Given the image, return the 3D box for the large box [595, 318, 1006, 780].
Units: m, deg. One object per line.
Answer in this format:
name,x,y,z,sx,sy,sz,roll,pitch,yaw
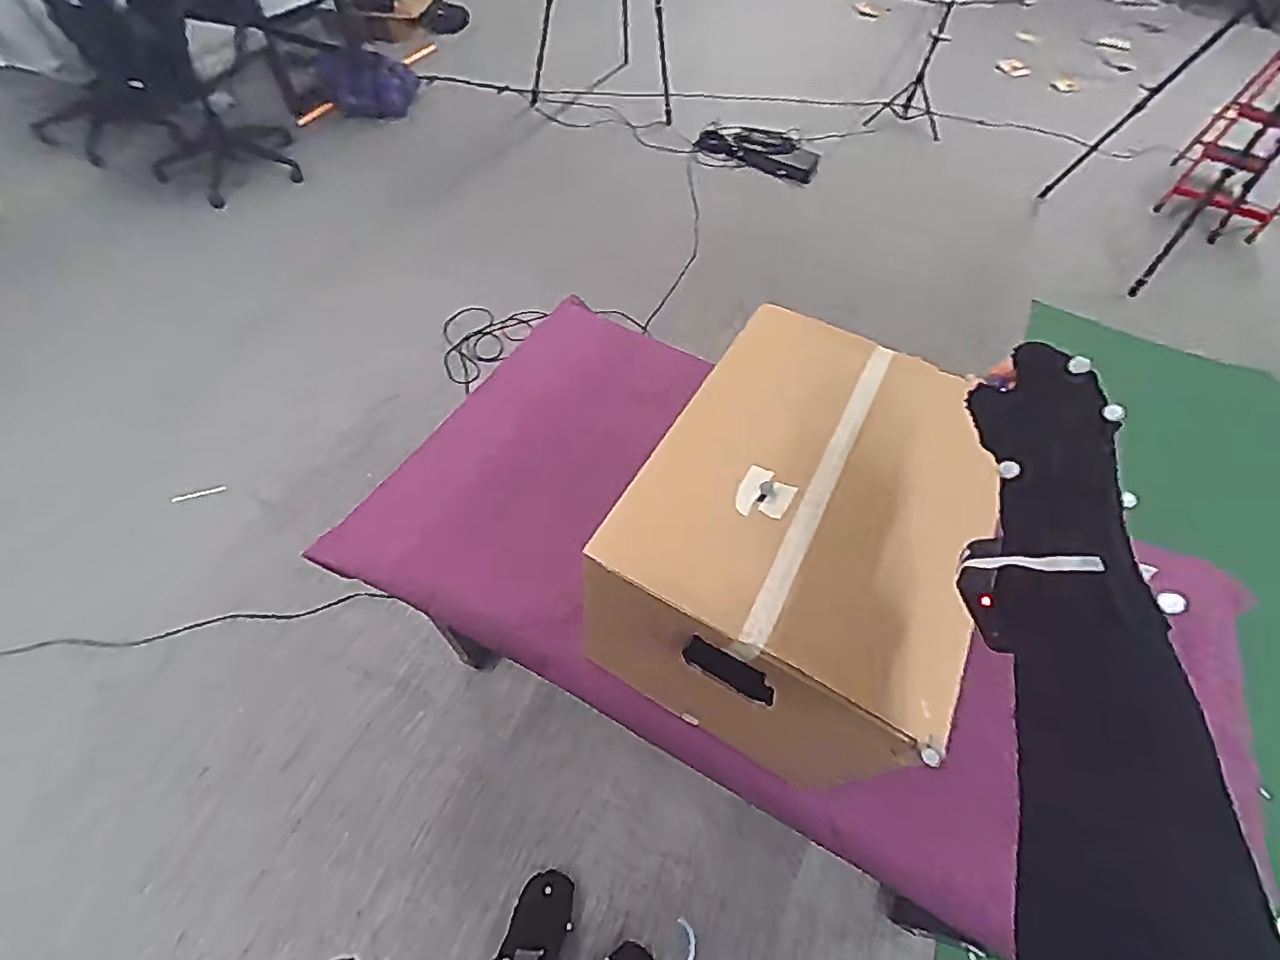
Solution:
large box,0.176,0.083,0.669,0.320,0.320,0.408,28,59,14
